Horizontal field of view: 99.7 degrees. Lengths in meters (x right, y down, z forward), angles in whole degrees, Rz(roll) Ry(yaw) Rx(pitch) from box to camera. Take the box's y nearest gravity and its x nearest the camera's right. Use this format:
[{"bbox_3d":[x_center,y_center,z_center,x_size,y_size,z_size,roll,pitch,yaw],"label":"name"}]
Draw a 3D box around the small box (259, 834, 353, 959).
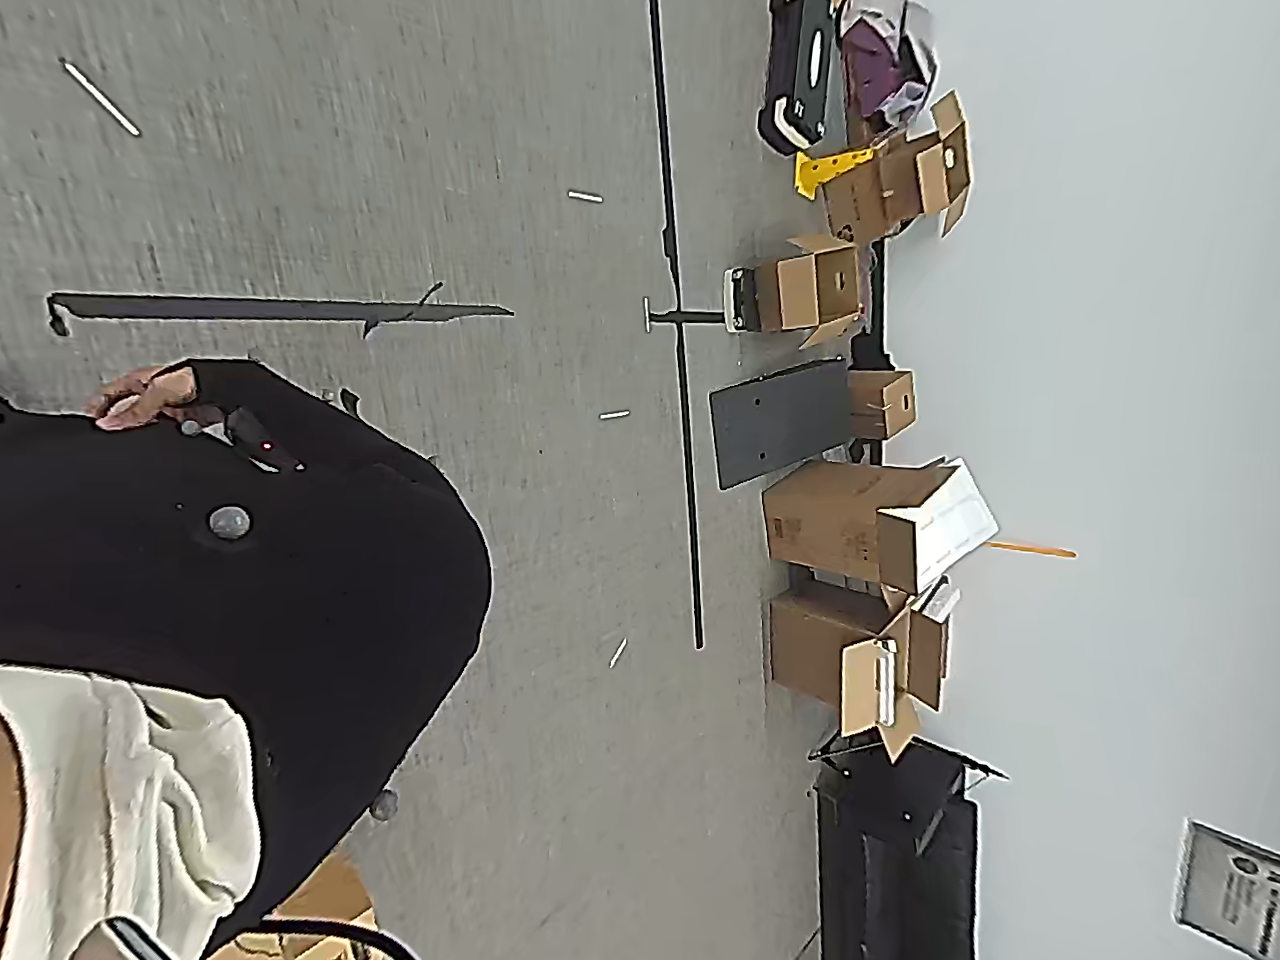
[{"bbox_3d":[-0.911,1.120,1.468,0.179,0.176,0.168,-15,107,-43],"label":"small box"}]
